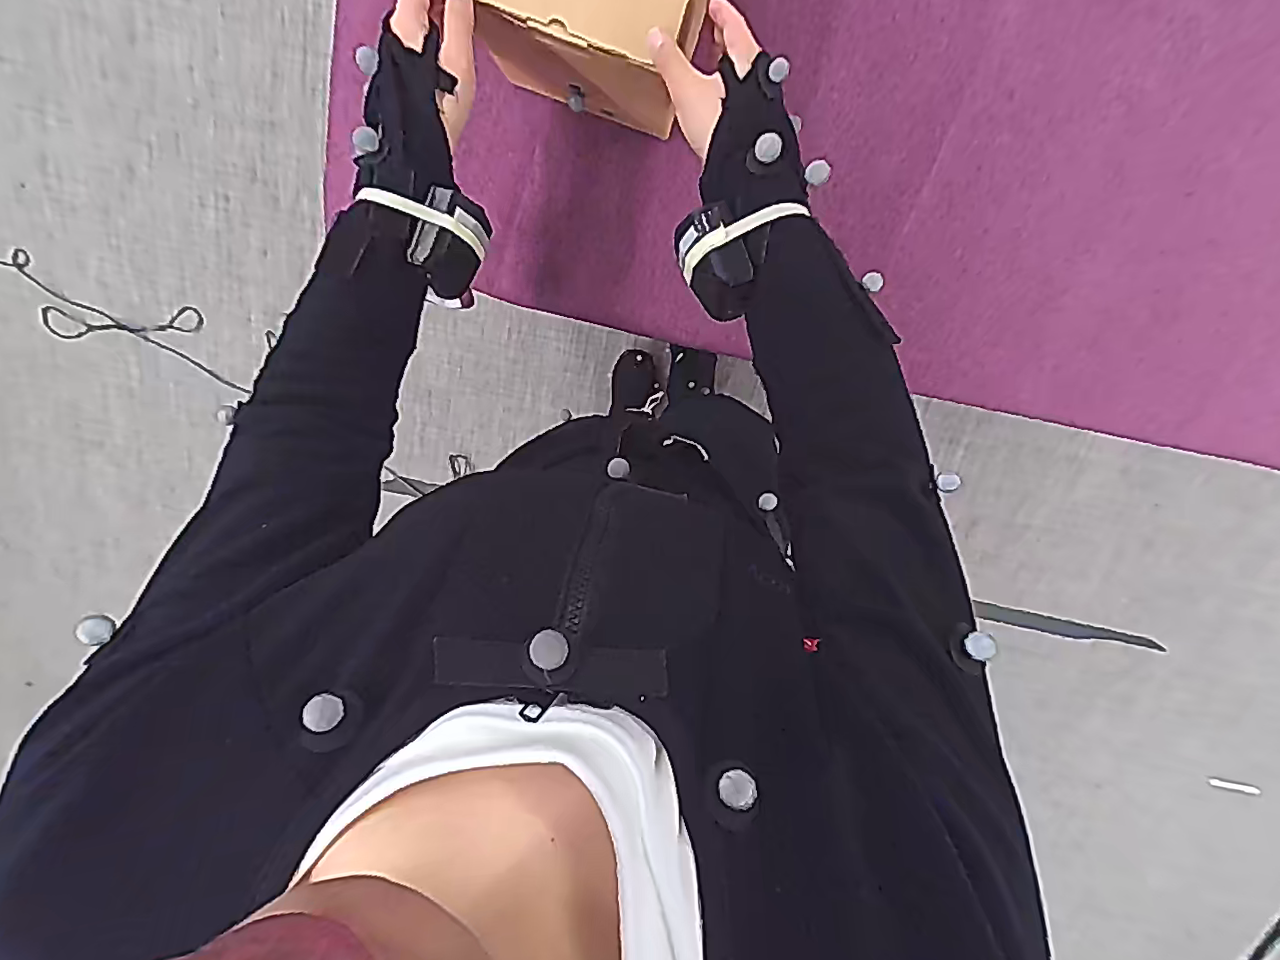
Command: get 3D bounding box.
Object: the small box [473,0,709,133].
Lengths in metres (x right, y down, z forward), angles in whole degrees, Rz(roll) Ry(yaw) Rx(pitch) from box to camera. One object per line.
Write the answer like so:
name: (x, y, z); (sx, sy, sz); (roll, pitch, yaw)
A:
small box: (-0.027, -0.419, 0.429); (0.168, 0.176, 0.179); (18, 108, -3)
